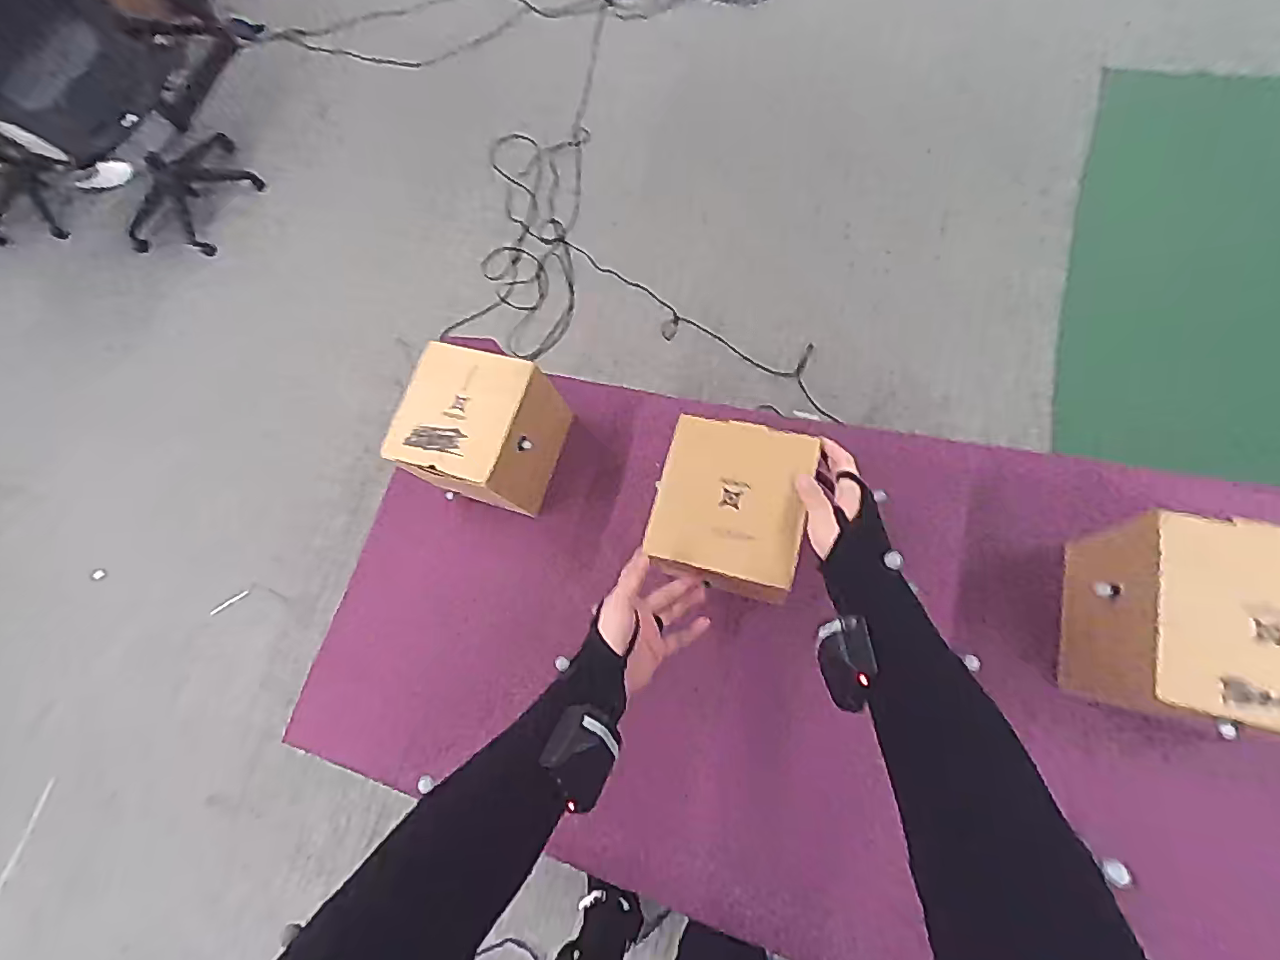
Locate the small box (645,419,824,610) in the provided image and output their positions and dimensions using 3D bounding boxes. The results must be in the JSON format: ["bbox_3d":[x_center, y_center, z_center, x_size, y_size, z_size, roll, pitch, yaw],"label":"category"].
[{"bbox_3d":[0.120,0.049,0.674,0.168,0.176,0.179,13,74,17],"label":"small box"}]

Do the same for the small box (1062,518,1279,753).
[{"bbox_3d":[0.559,0.158,0.541,0.168,0.176,0.179,11,73,16],"label":"small box"}]

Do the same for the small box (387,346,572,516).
[{"bbox_3d":[-0.216,-0.062,0.779,0.168,0.176,0.179,15,75,16],"label":"small box"}]
